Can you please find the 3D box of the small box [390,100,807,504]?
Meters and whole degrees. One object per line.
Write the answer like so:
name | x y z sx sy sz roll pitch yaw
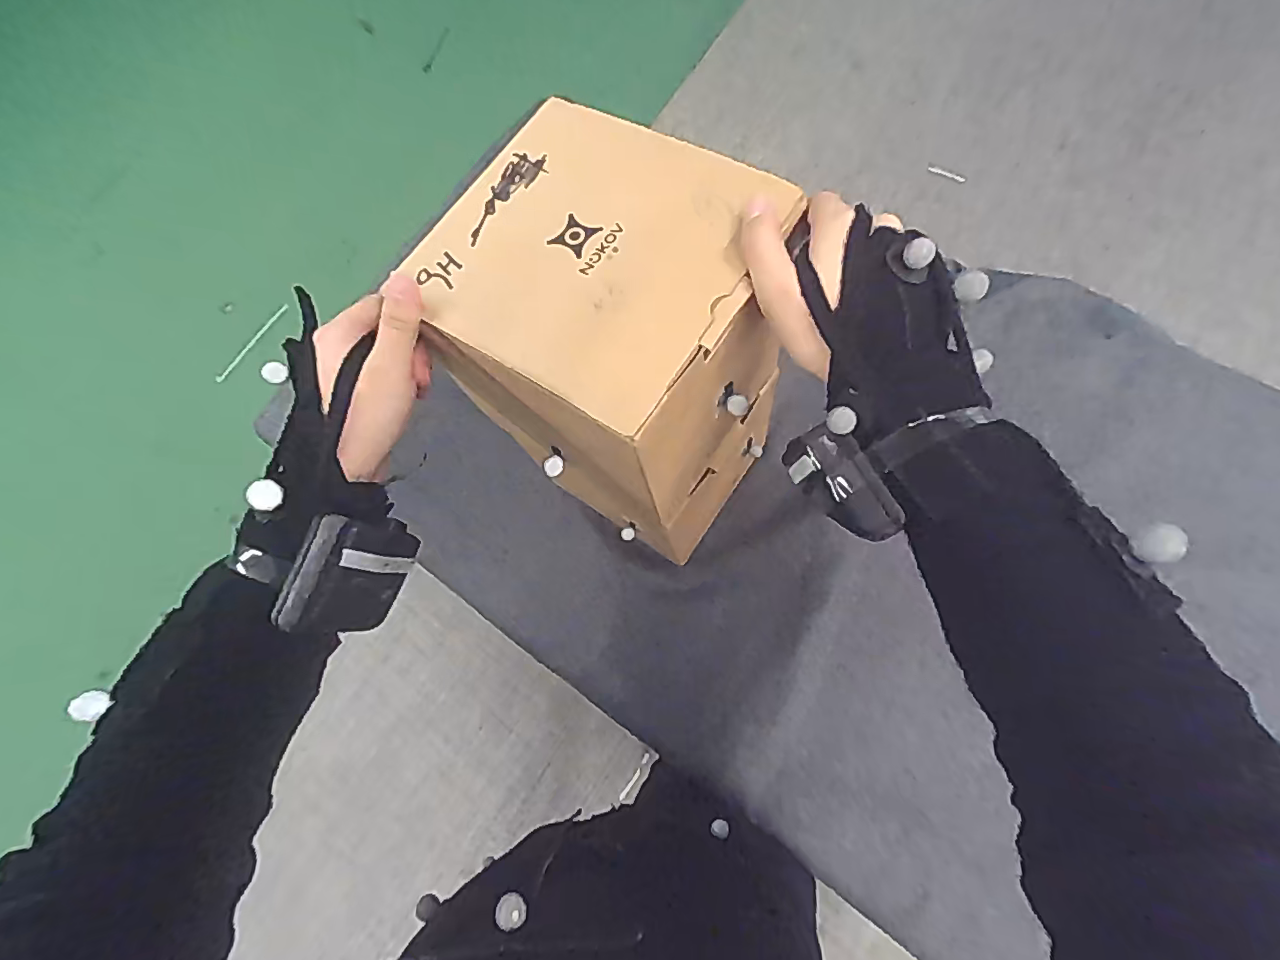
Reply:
small box | -0.017 -0.101 0.370 0.179 0.176 0.168 32 77 15

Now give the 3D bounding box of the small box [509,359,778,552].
small box | 0.009 -0.046 0.523 0.179 0.176 0.168 32 77 17
